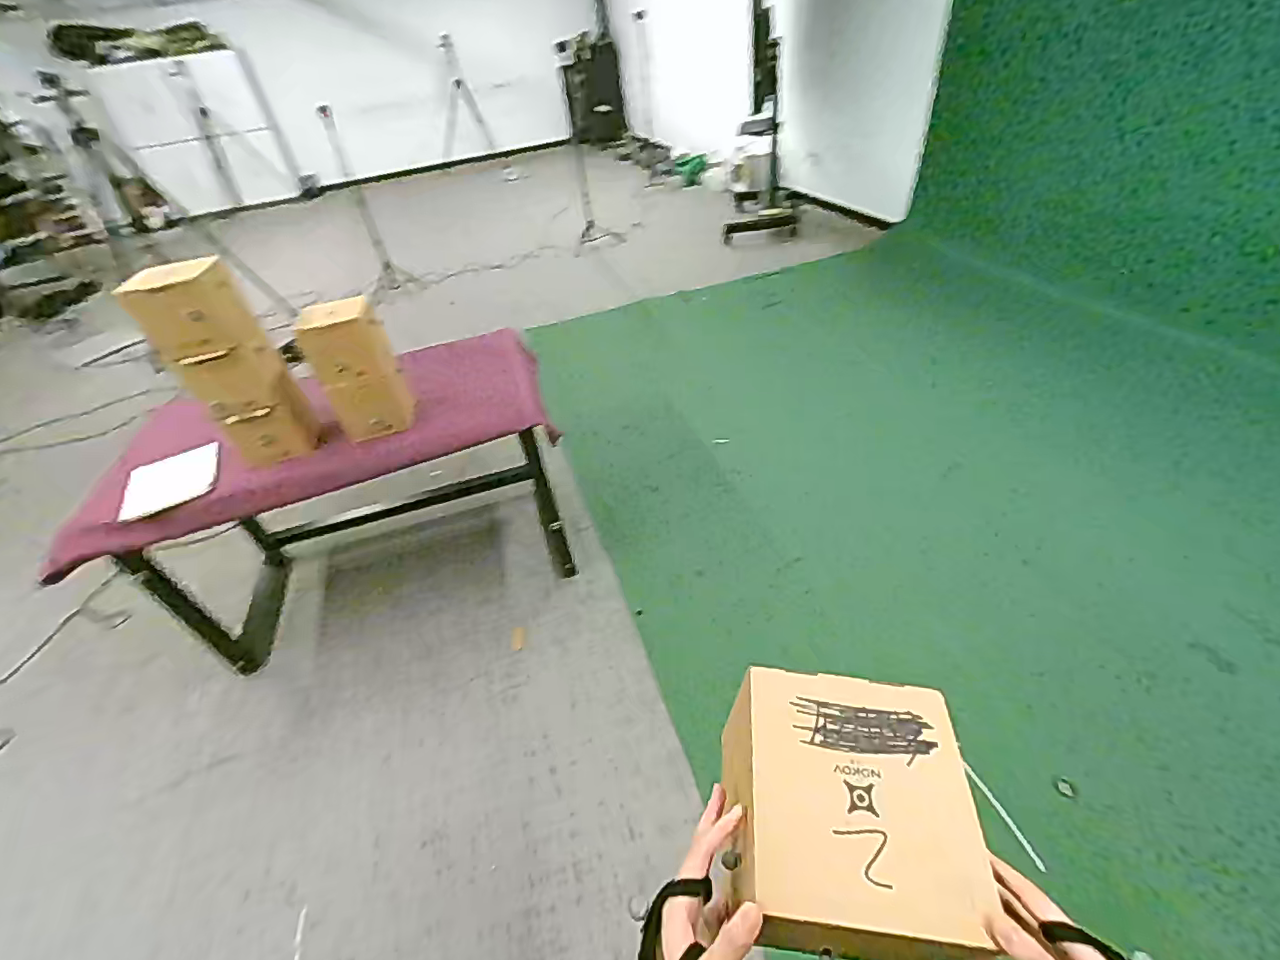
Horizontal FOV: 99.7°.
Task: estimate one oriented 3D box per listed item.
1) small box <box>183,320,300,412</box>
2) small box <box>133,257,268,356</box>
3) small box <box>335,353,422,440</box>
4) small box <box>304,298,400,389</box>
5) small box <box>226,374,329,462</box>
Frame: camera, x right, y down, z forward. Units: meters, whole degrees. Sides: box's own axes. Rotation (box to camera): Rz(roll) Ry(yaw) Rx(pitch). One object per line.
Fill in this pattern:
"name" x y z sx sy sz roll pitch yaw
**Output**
"small box" -1.019 -0.290 1.404 0.168 0.176 0.179 -15 39 -8
"small box" -1.036 -0.411 1.296 0.168 0.176 0.179 -14 40 -8
"small box" -0.738 -0.239 1.548 0.168 0.176 0.179 -16 40 -7
"small box" -0.761 -0.367 1.450 0.168 0.176 0.179 -15 40 -8
"small box" -1.002 -0.168 1.514 0.168 0.176 0.179 -15 41 -8
